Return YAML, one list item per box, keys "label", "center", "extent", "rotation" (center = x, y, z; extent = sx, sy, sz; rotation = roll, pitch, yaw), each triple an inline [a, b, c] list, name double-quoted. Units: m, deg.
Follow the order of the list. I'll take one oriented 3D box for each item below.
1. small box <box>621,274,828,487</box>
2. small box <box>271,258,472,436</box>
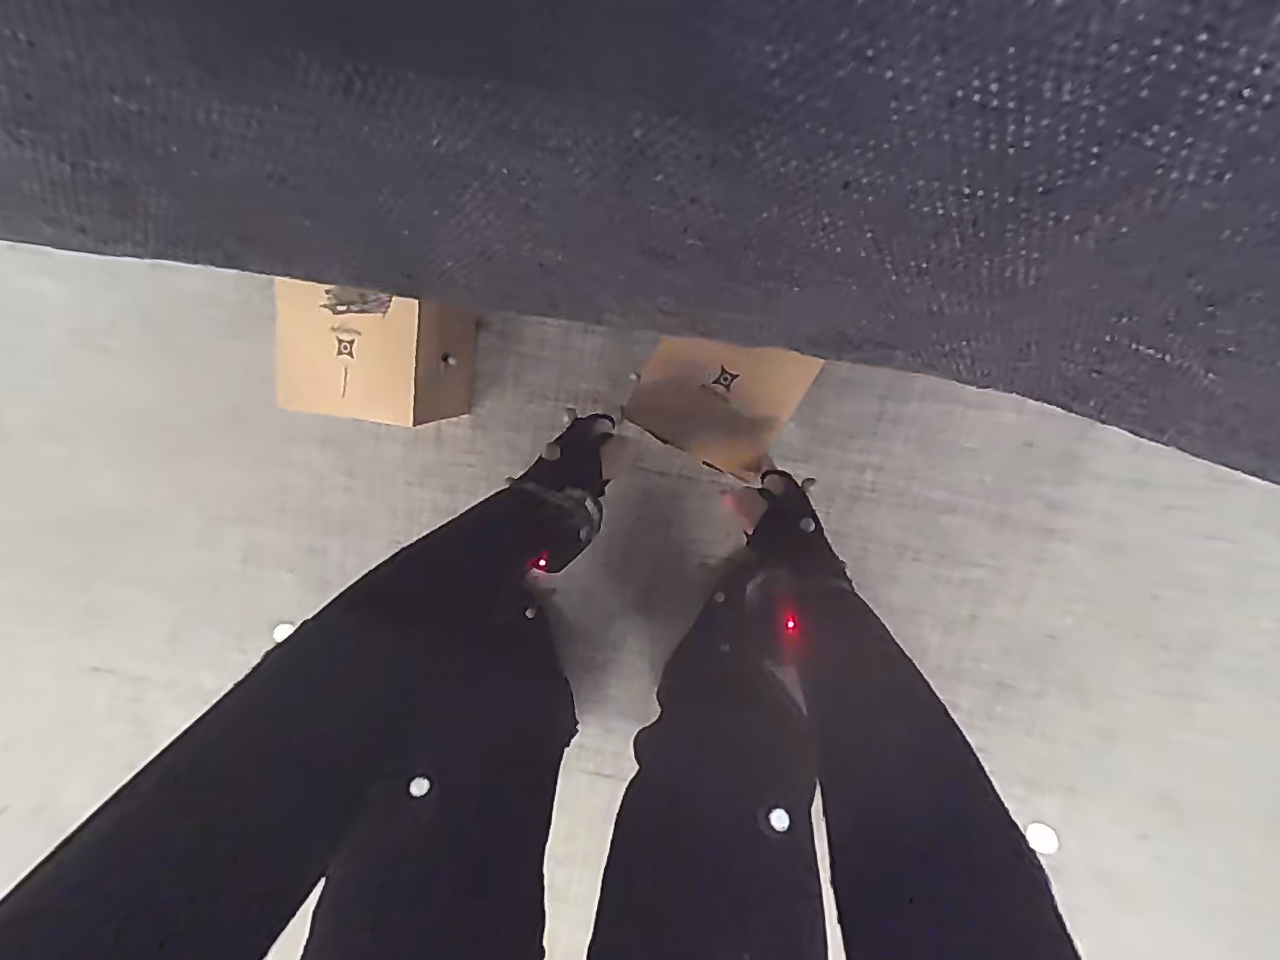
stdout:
- label: "small box"
  center: [0.092, -0.116, 0.653]
  extent: [0.168, 0.176, 0.179]
  rotation: [26, 100, -3]
- label: "small box"
  center: [-0.320, -0.160, 0.672]
  extent: [0.168, 0.176, 0.179]
  rotation: [8, 103, 3]
